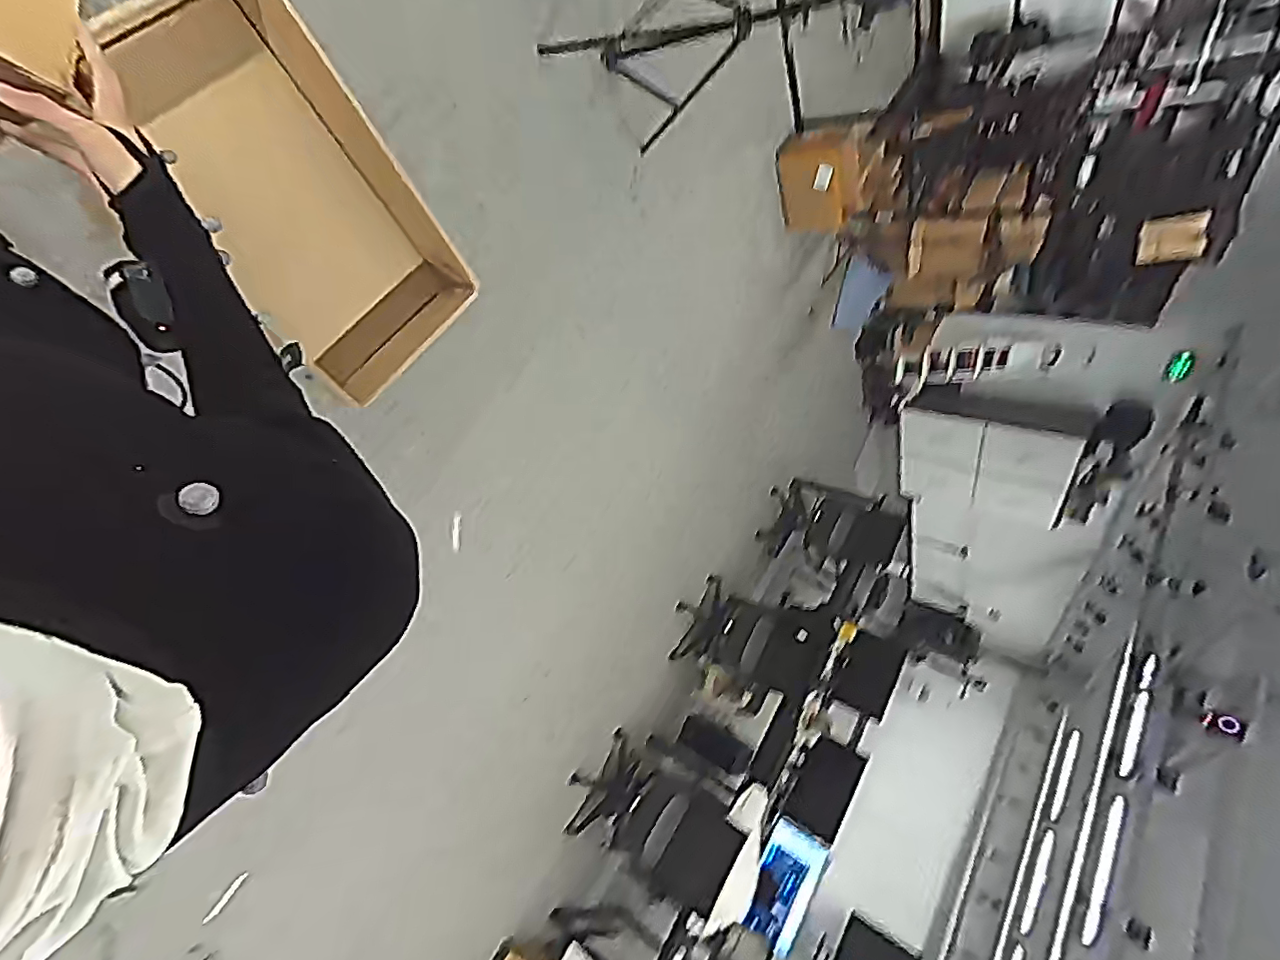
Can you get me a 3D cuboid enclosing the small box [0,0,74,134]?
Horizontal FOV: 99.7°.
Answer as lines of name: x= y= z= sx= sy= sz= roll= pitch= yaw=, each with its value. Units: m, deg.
small box: x=-0.582 y=-0.403 z=0.410 sx=0.168 sy=0.176 sz=0.179 roll=5 pitch=84 yaw=-67
